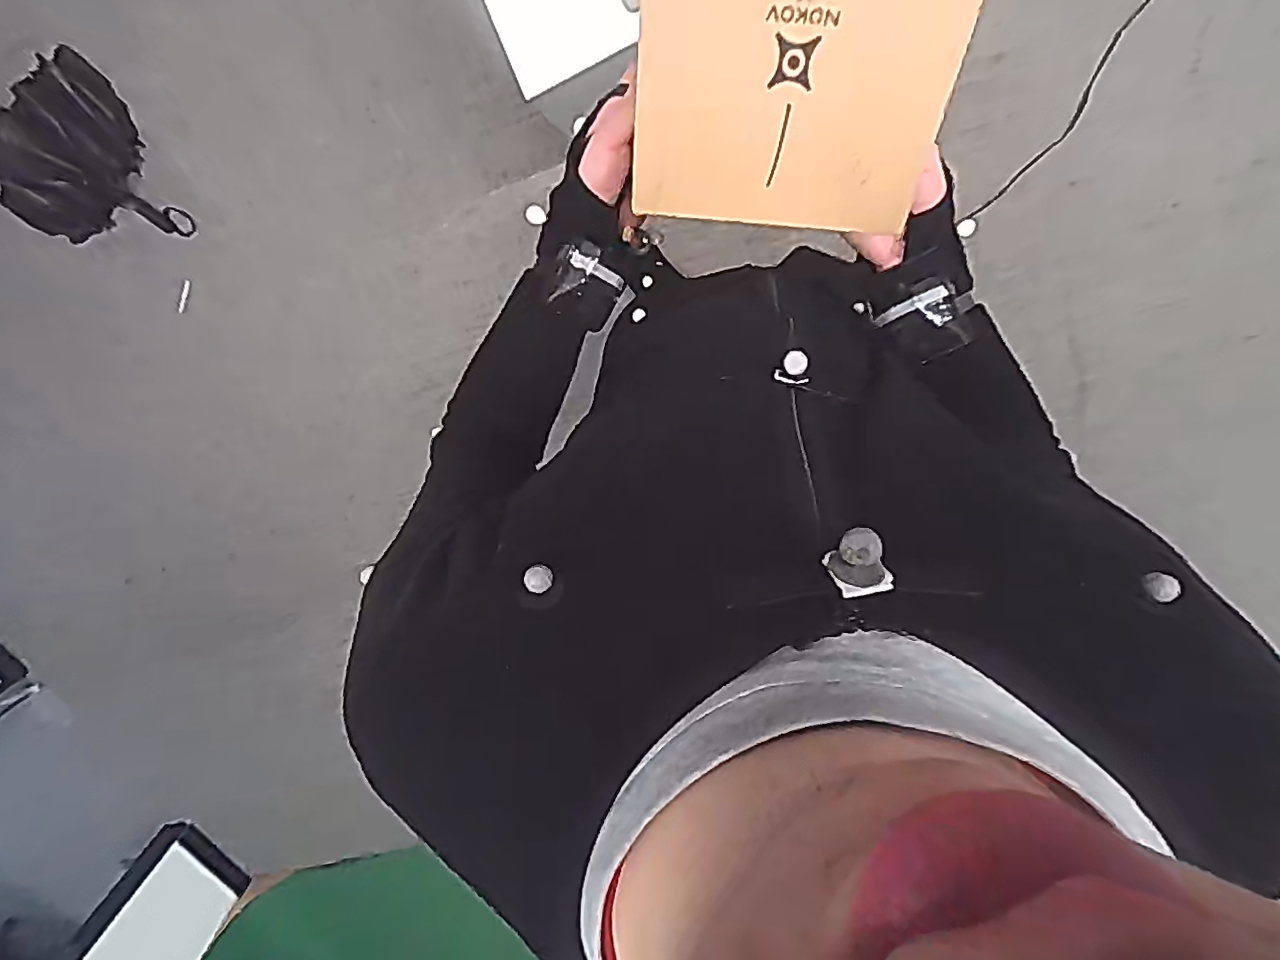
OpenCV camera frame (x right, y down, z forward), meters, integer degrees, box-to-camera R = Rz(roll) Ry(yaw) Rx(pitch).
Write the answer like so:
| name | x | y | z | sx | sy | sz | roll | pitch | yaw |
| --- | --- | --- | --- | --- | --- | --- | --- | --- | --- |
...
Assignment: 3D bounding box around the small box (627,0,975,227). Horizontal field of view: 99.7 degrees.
| name | x | y | z | sx | sy | sz | roll | pitch | yaw |
| --- | --- | --- | --- | --- | --- | --- | --- | --- | --- |
| small box | 0.086 | -0.279 | 0.335 | 0.168 | 0.176 | 0.179 | 7 | 130 | 1 |
